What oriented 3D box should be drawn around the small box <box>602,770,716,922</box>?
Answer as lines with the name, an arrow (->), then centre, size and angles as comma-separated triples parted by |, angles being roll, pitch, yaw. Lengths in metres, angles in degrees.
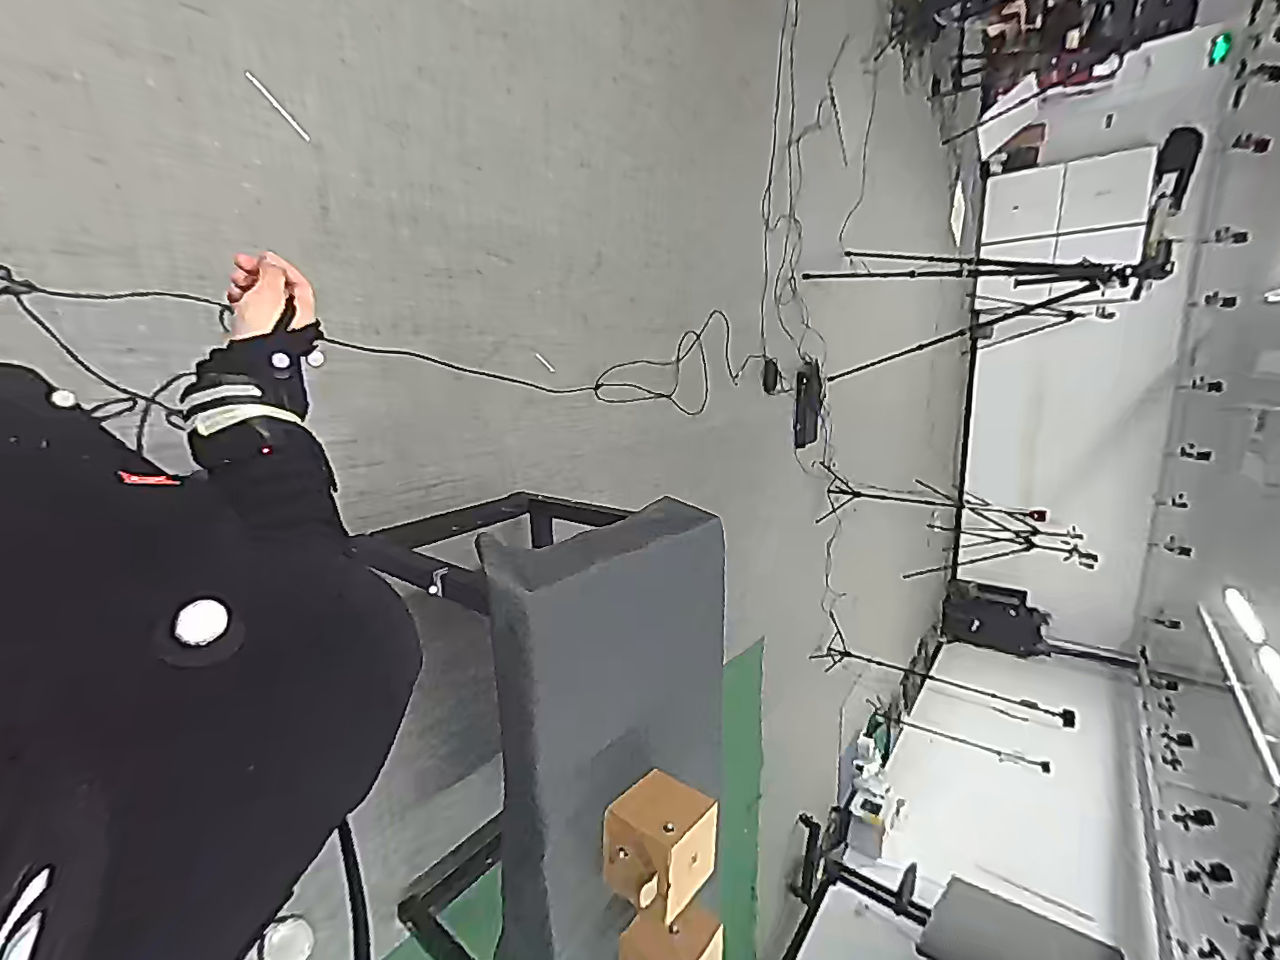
small box -> 0.041, 0.752, 1.138 | 0.179, 0.176, 0.168 | -7, 102, -51
